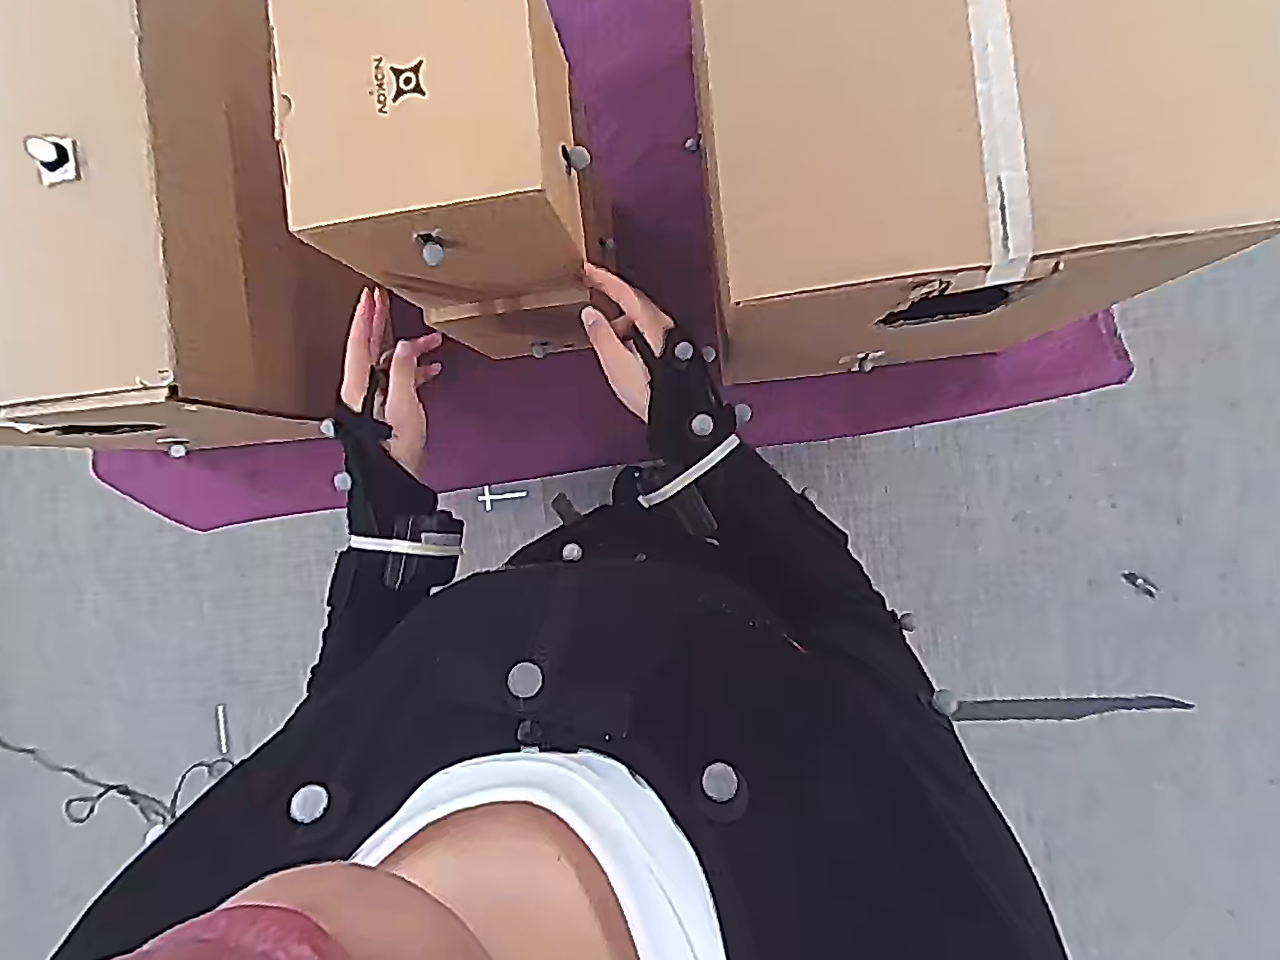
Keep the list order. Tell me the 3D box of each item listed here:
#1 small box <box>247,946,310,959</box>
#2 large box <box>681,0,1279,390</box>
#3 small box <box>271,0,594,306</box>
[{"bbox_3d":[-1.026,1.418,1.471,0.179,0.176,0.168,-7,90,8],"label":"small box"},{"bbox_3d":[0.205,-0.319,0.469,0.320,0.320,0.408,-6,89,7],"label":"large box"},{"bbox_3d":[-0.137,-0.248,0.419,0.179,0.176,0.168,-5,90,9],"label":"small box"}]
